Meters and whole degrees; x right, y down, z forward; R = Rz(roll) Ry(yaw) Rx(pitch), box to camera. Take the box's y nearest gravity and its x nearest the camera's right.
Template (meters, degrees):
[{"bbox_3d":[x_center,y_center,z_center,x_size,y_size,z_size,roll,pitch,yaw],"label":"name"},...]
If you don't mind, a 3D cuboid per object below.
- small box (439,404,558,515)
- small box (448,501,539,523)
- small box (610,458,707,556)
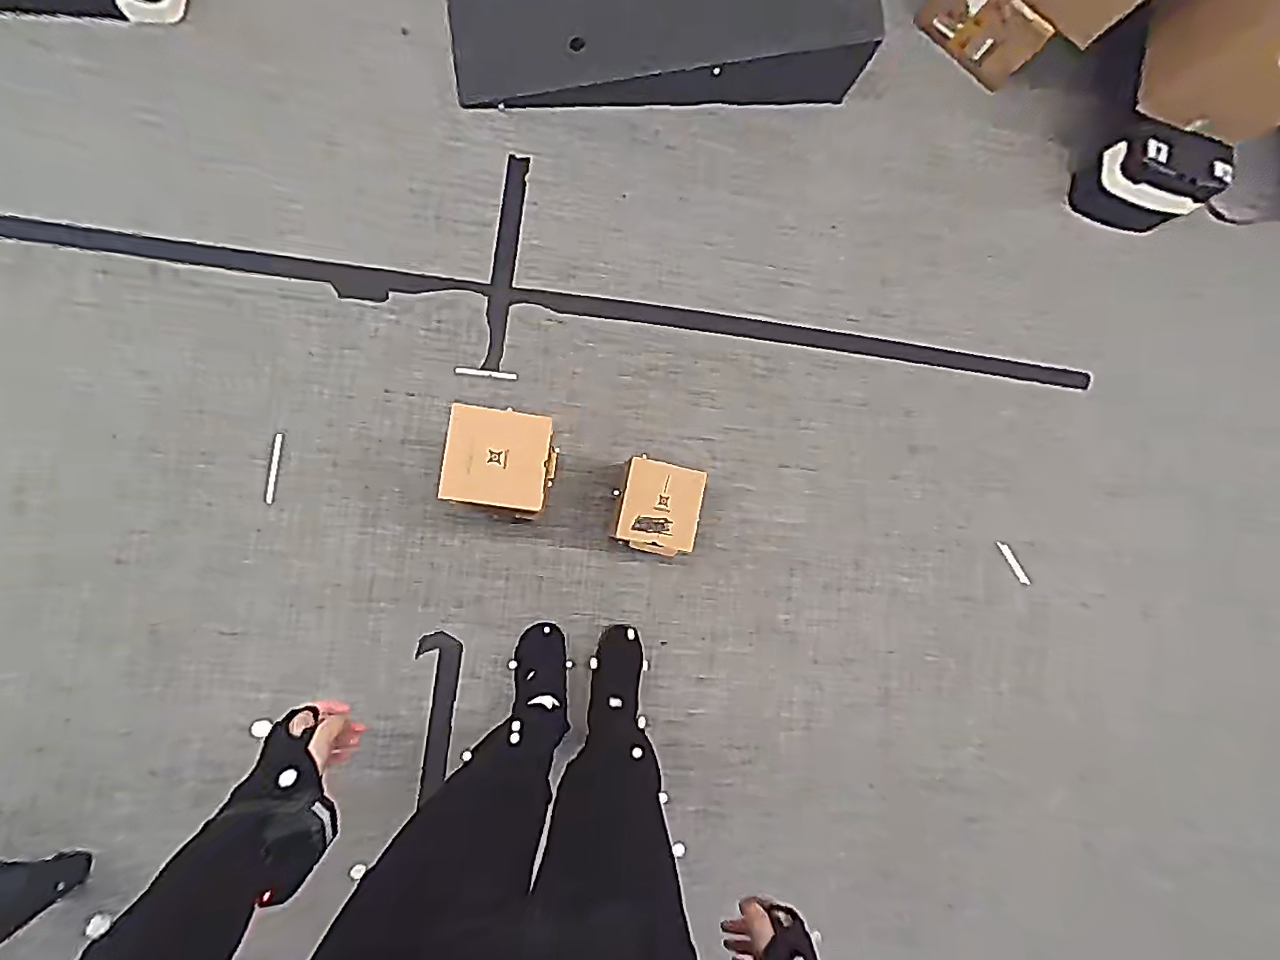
[{"bbox_3d":[-0.250,-0.030,0.992,0.179,0.176,0.168,9,84,-8],"label":"small box"},{"bbox_3d":[-0.288,-0.008,1.150,0.179,0.176,0.168,13,84,-9],"label":"small box"},{"bbox_3d":[0.034,0.063,1.199,0.168,0.176,0.179,13,83,-8],"label":"small box"}]
